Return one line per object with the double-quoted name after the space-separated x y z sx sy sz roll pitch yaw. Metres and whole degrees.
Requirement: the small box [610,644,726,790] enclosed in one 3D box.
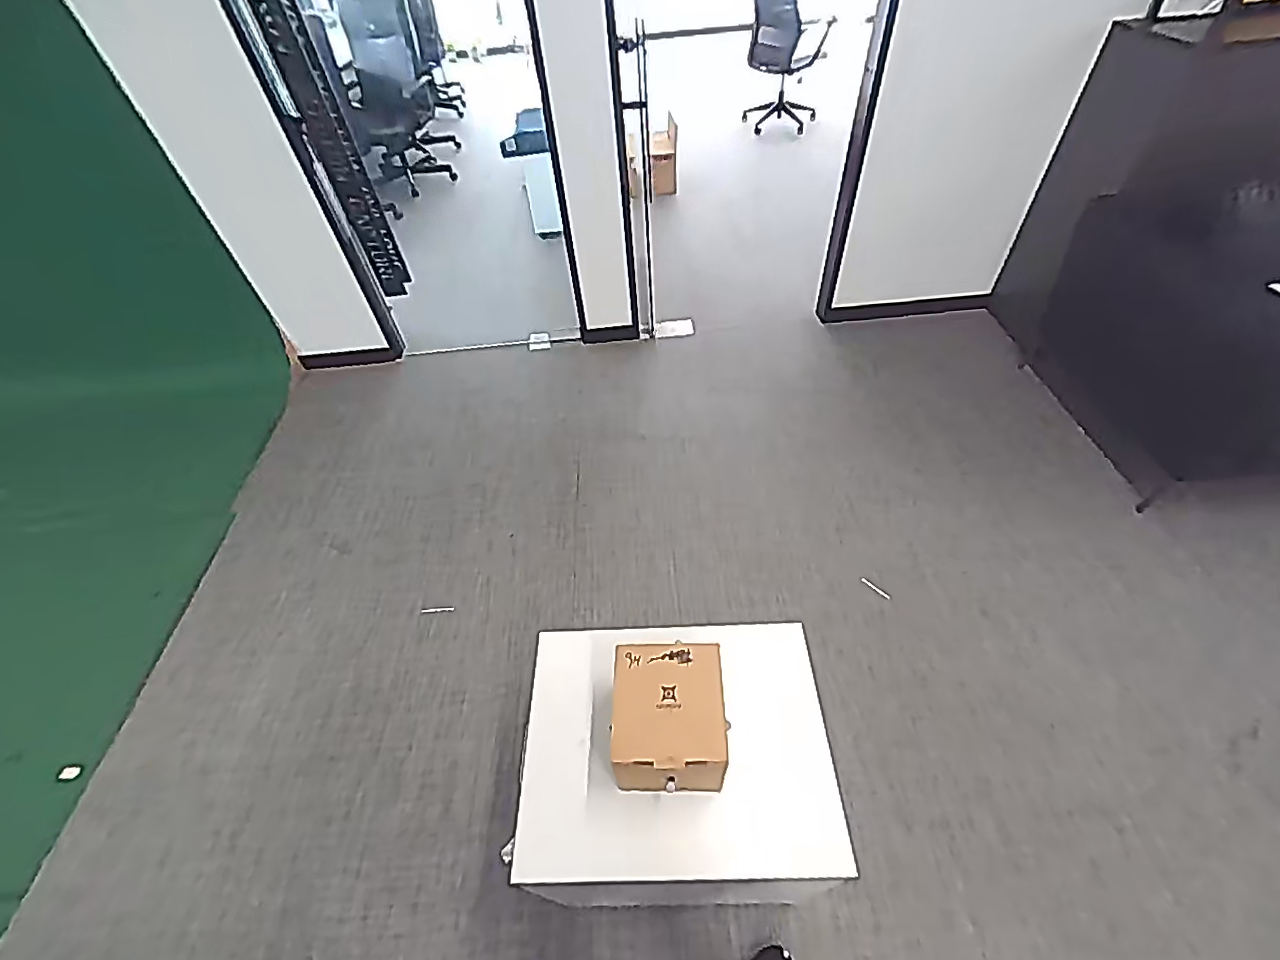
0.044 0.381 0.859 0.168 0.176 0.179 -3 48 2 "small box"
